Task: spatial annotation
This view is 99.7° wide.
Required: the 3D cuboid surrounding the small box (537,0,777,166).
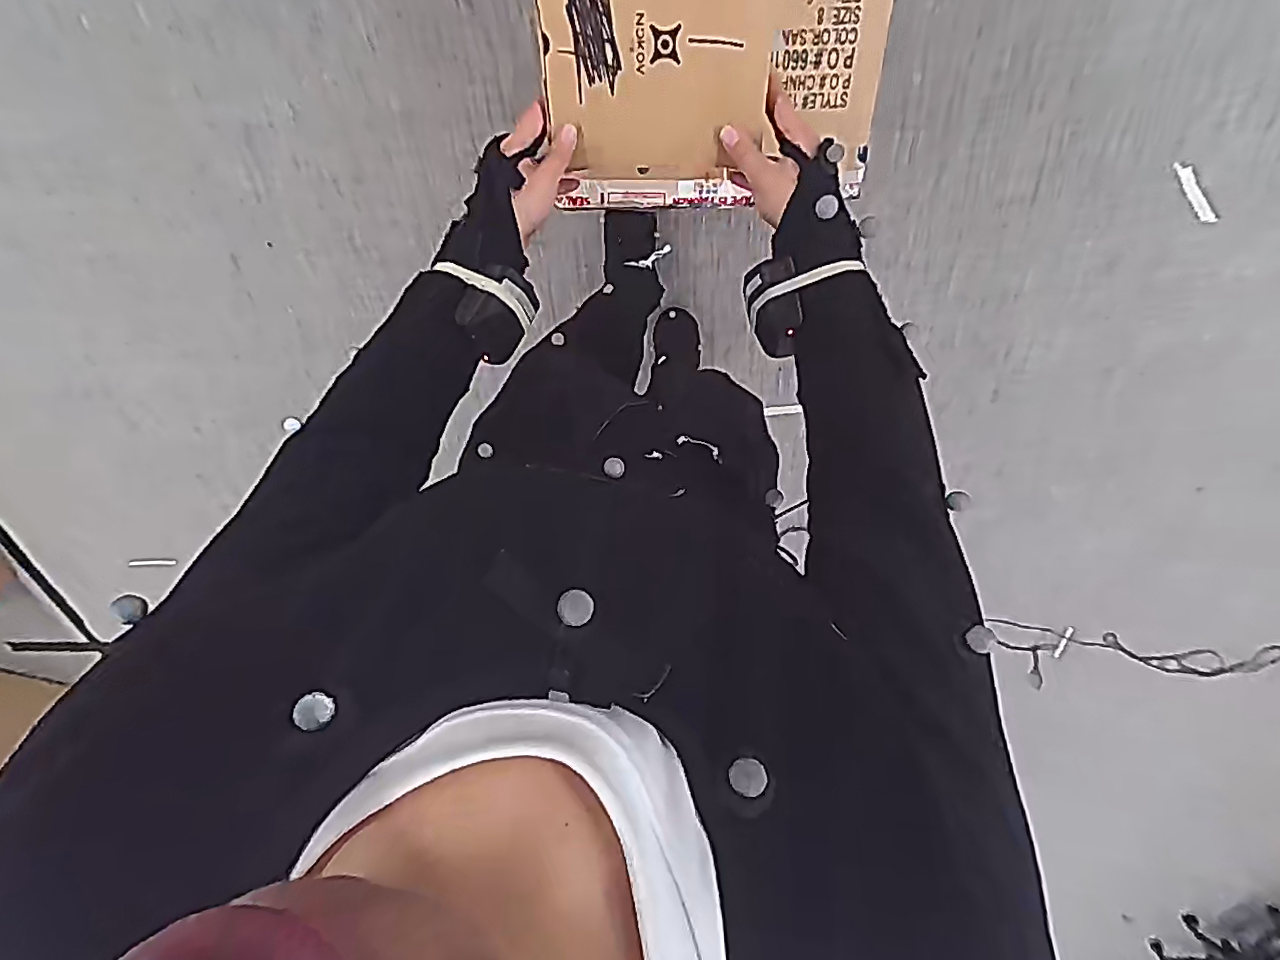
[{"bbox_3d":[0.019,-0.380,0.461,0.179,0.176,0.168,3,132,4],"label":"small box"}]
